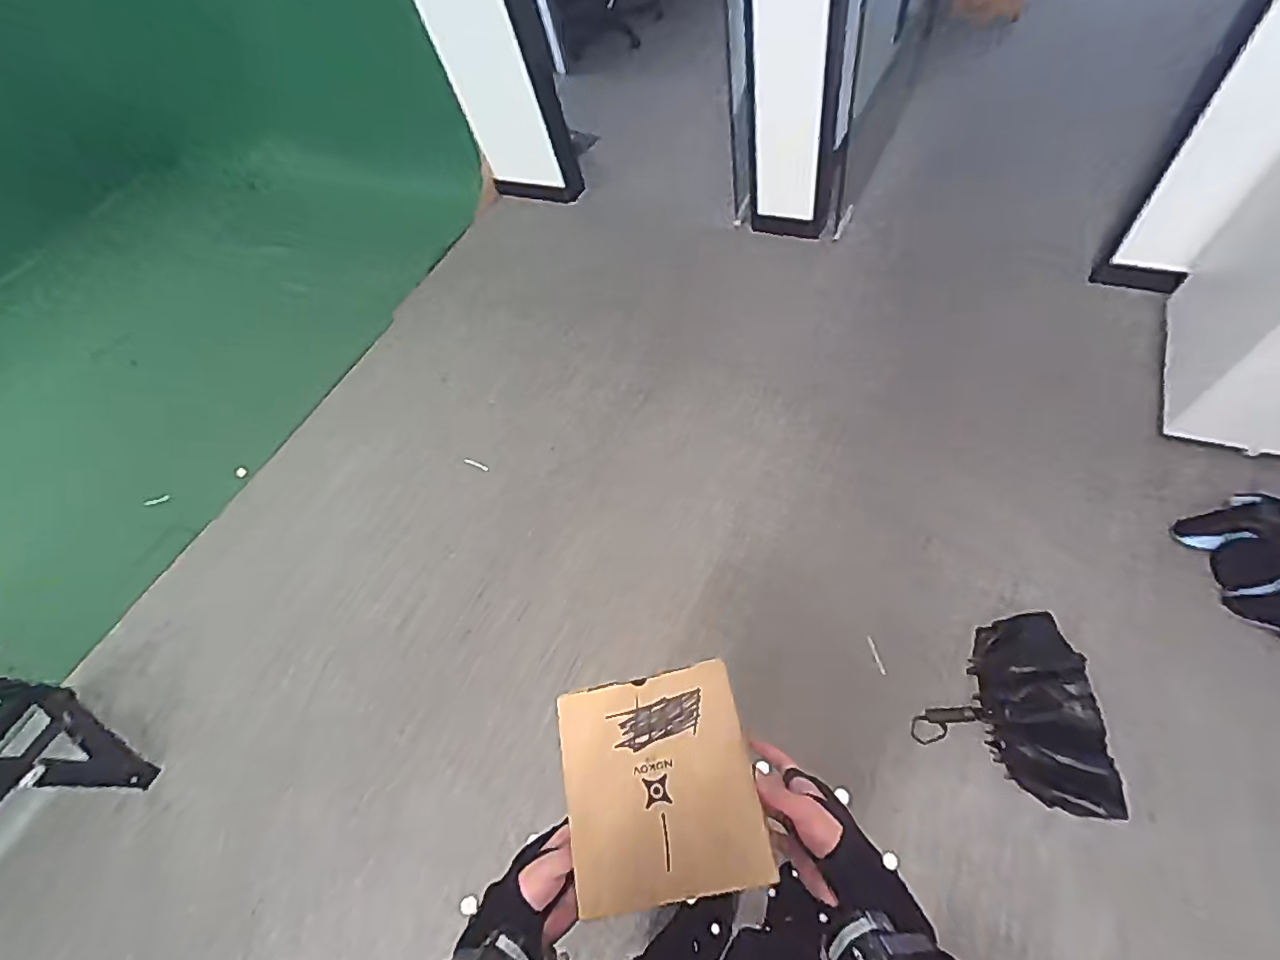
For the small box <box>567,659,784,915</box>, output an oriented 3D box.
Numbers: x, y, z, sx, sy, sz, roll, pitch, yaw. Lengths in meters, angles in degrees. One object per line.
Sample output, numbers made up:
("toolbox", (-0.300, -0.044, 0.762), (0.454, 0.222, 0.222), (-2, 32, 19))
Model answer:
("small box", (0.036, 0.299, 0.544), (0.168, 0.176, 0.179), (-15, 61, 5))
